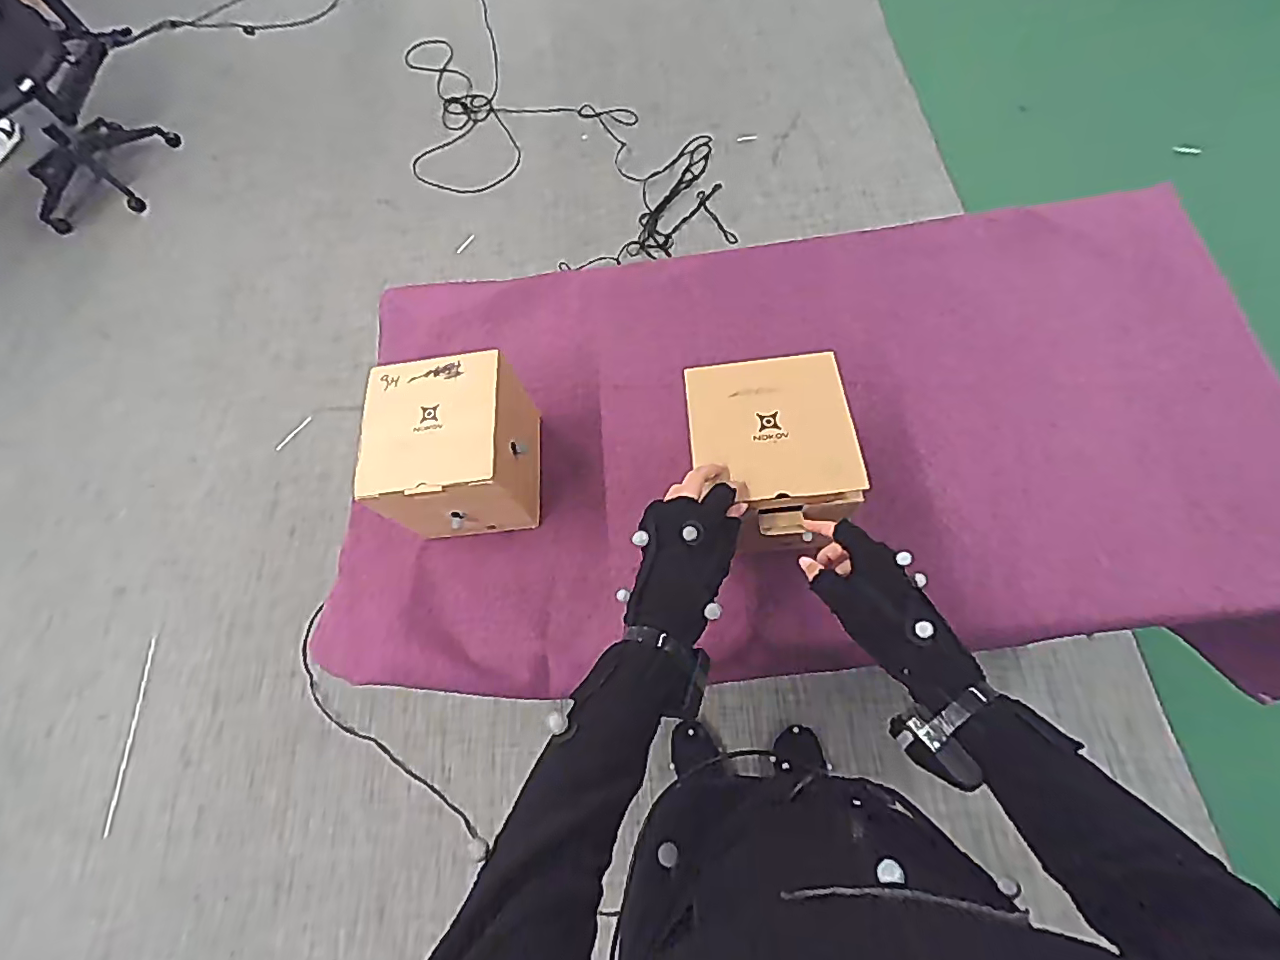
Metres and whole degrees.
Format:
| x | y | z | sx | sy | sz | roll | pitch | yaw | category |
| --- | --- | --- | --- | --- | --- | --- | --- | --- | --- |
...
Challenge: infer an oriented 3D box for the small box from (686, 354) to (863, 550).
| x | y | z | sx | sy | sz | roll | pitch | yaw | category |
| --- | --- | --- | --- | --- | --- | --- | --- | --- | --- |
| 0.146 | -0.021 | 0.638 | 0.168 | 0.176 | 0.179 | -5 | 67 | 6 | small box |

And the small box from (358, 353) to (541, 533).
| x | y | z | sx | sy | sz | roll | pitch | yaw | category |
| --- | --- | --- | --- | --- | --- | --- | --- | --- | --- |
| -0.230 | -0.036 | 0.700 | 0.168 | 0.176 | 0.179 | -6 | 68 | 5 | small box |
